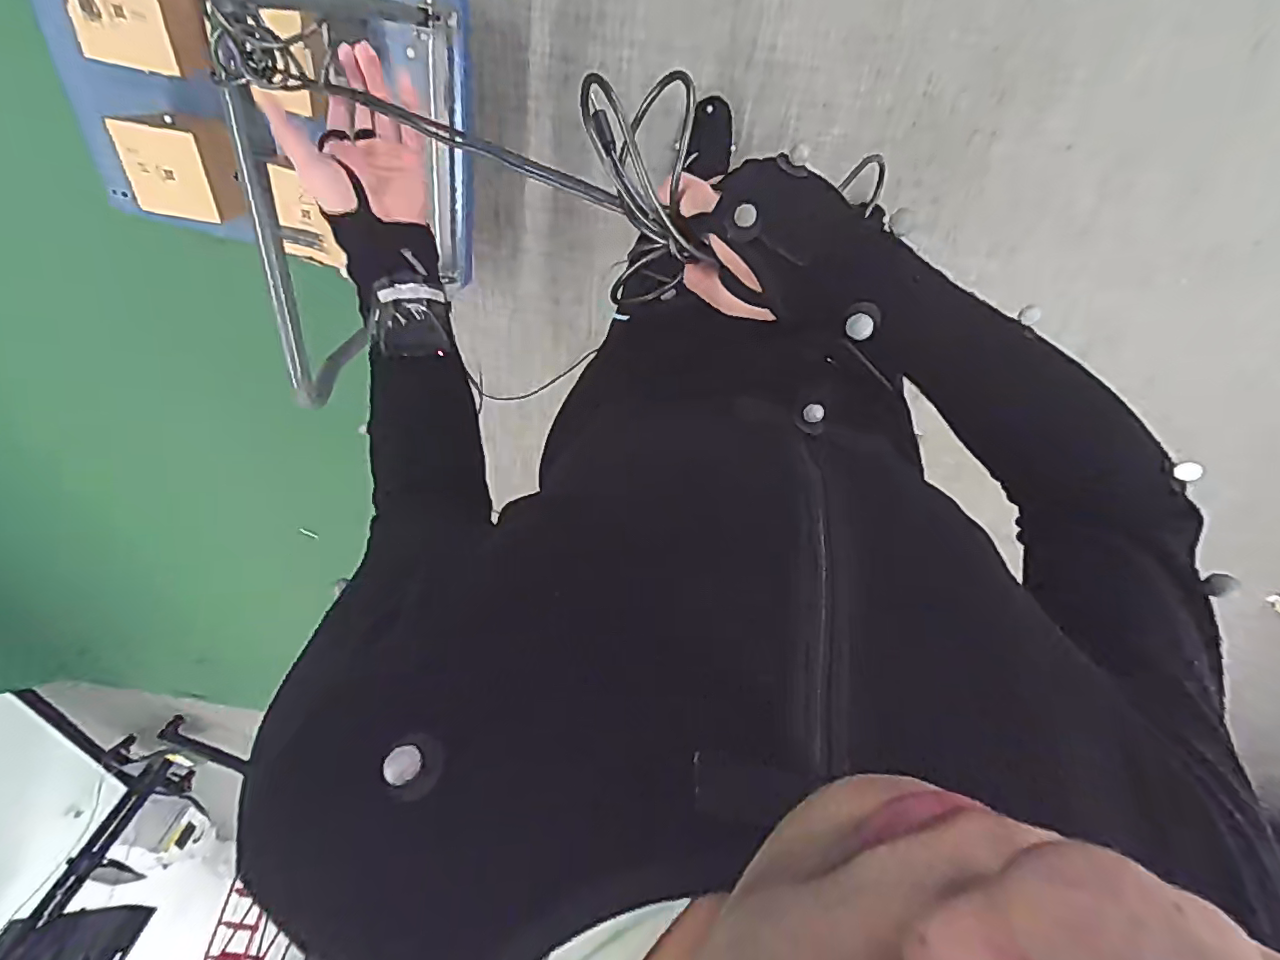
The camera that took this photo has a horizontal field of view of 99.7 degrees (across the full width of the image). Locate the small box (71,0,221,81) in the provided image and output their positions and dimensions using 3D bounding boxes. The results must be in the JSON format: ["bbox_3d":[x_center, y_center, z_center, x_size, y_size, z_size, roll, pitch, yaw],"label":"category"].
[{"bbox_3d":[-0.895,-0.861,1.003,0.179,0.176,0.168,11,130,-2],"label":"small box"}]

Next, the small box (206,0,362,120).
[{"bbox_3d":[-0.657,-0.802,1.017,0.179,0.176,0.168,14,129,-4],"label":"small box"}]

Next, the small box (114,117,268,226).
[{"bbox_3d":[-0.944,-0.668,1.164,0.179,0.176,0.168,10,128,0],"label":"small box"}]
